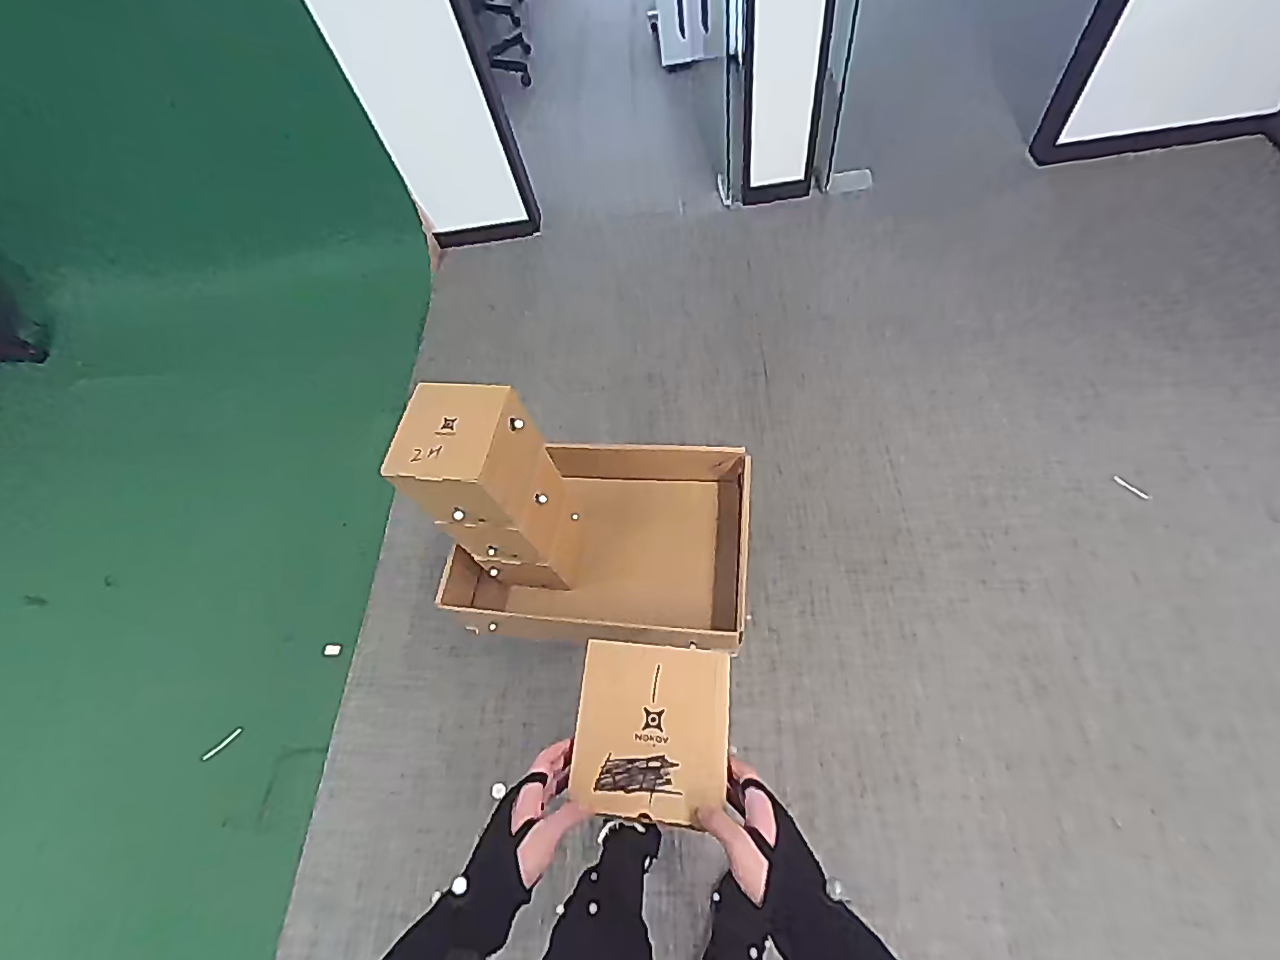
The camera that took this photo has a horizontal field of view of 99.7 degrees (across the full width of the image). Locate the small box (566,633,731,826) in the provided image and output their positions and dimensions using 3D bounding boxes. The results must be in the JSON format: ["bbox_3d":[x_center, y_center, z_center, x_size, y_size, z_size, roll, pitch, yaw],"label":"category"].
[{"bbox_3d":[0.020,0.297,0.656,0.168,0.176,0.179,4,64,7],"label":"small box"}]

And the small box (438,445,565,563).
[{"bbox_3d":[-0.254,0.043,1.042,0.168,0.176,0.179,4,63,11],"label":"small box"}]

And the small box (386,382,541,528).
[{"bbox_3d":[-0.278,-0.040,0.901,0.168,0.176,0.179,4,62,13],"label":"small box"}]
